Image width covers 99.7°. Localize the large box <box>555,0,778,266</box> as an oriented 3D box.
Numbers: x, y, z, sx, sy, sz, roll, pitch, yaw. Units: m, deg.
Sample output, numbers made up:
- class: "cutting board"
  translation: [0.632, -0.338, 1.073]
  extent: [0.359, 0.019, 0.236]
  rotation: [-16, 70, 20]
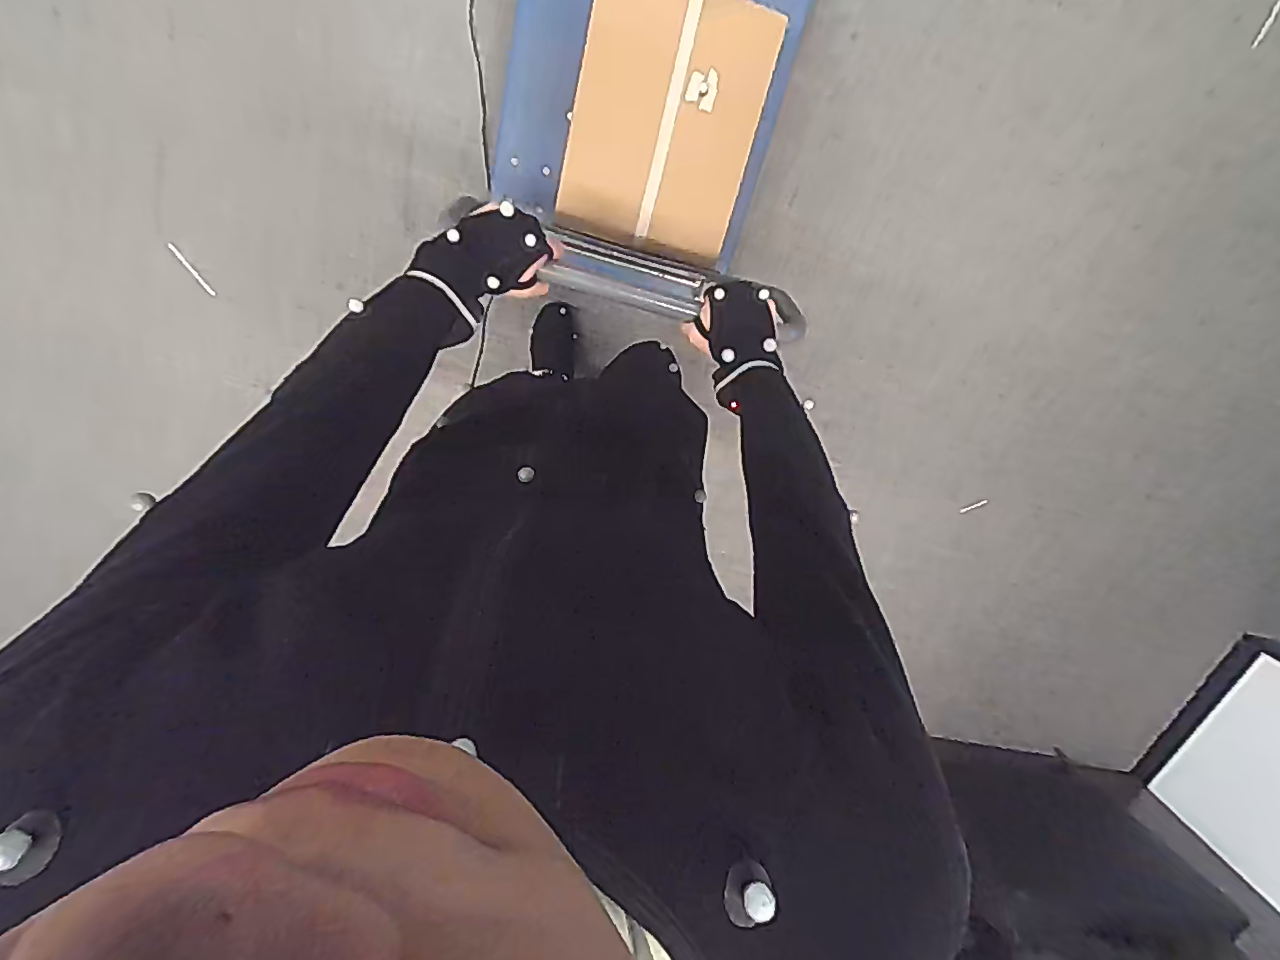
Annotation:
- class: "large box"
  translation: [0.023, -0.666, 1.069]
  extent: [0.320, 0.320, 0.408]
  rotation: [11, 110, -12]
